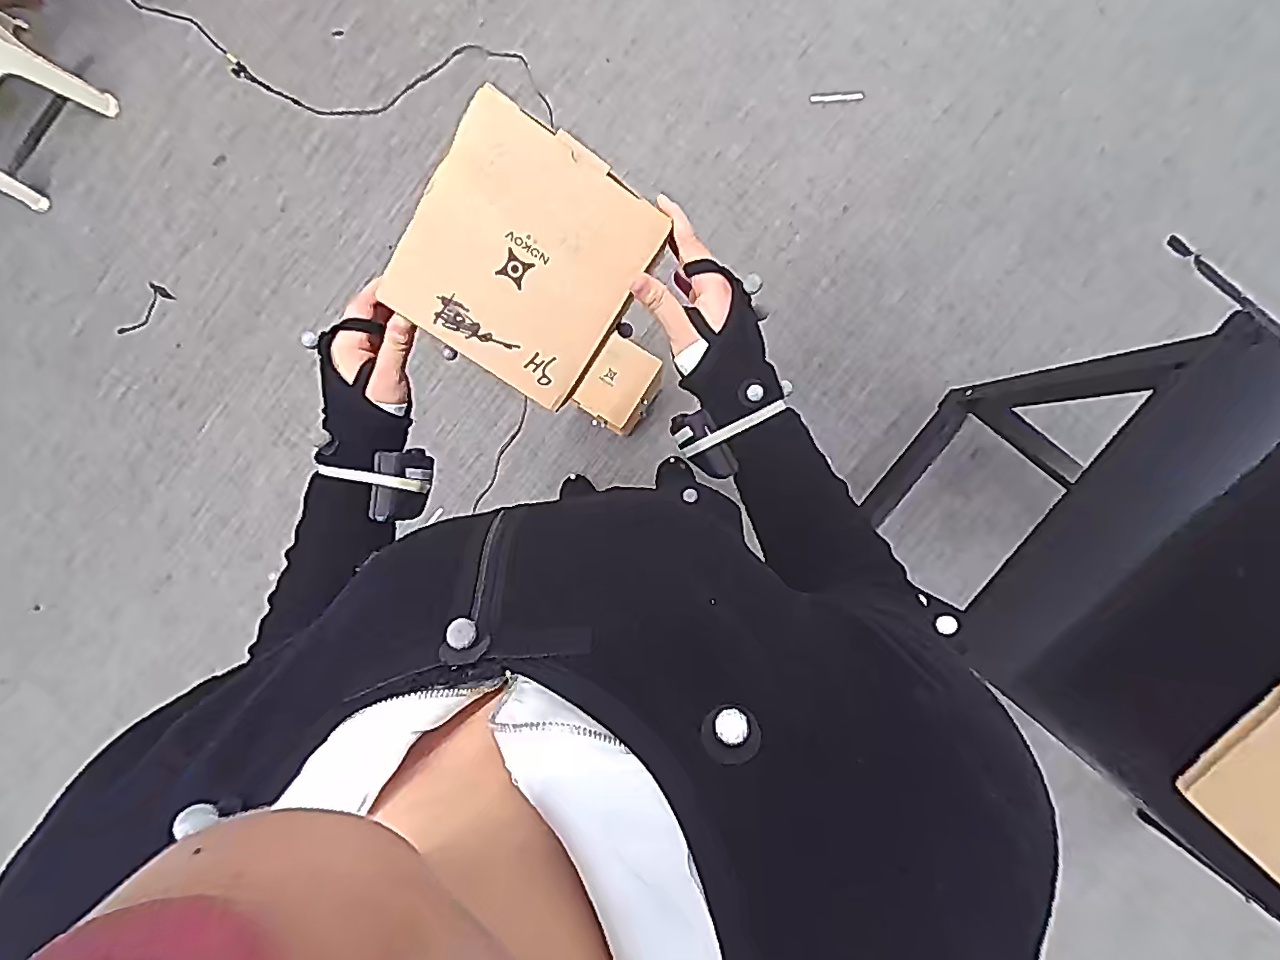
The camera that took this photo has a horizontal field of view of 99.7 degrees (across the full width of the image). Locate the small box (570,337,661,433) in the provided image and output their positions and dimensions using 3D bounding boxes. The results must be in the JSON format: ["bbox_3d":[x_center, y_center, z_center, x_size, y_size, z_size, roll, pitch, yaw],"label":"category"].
[{"bbox_3d":[-0.062,-0.220,1.249,0.168,0.176,0.179,32,91,0],"label":"small box"}]

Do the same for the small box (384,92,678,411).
[{"bbox_3d":[-0.087,-0.185,0.492,0.168,0.176,0.179,34,100,-8],"label":"small box"}]

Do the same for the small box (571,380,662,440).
[{"bbox_3d":[-0.058,-0.220,1.411,0.168,0.176,0.179,35,94,1],"label":"small box"}]
